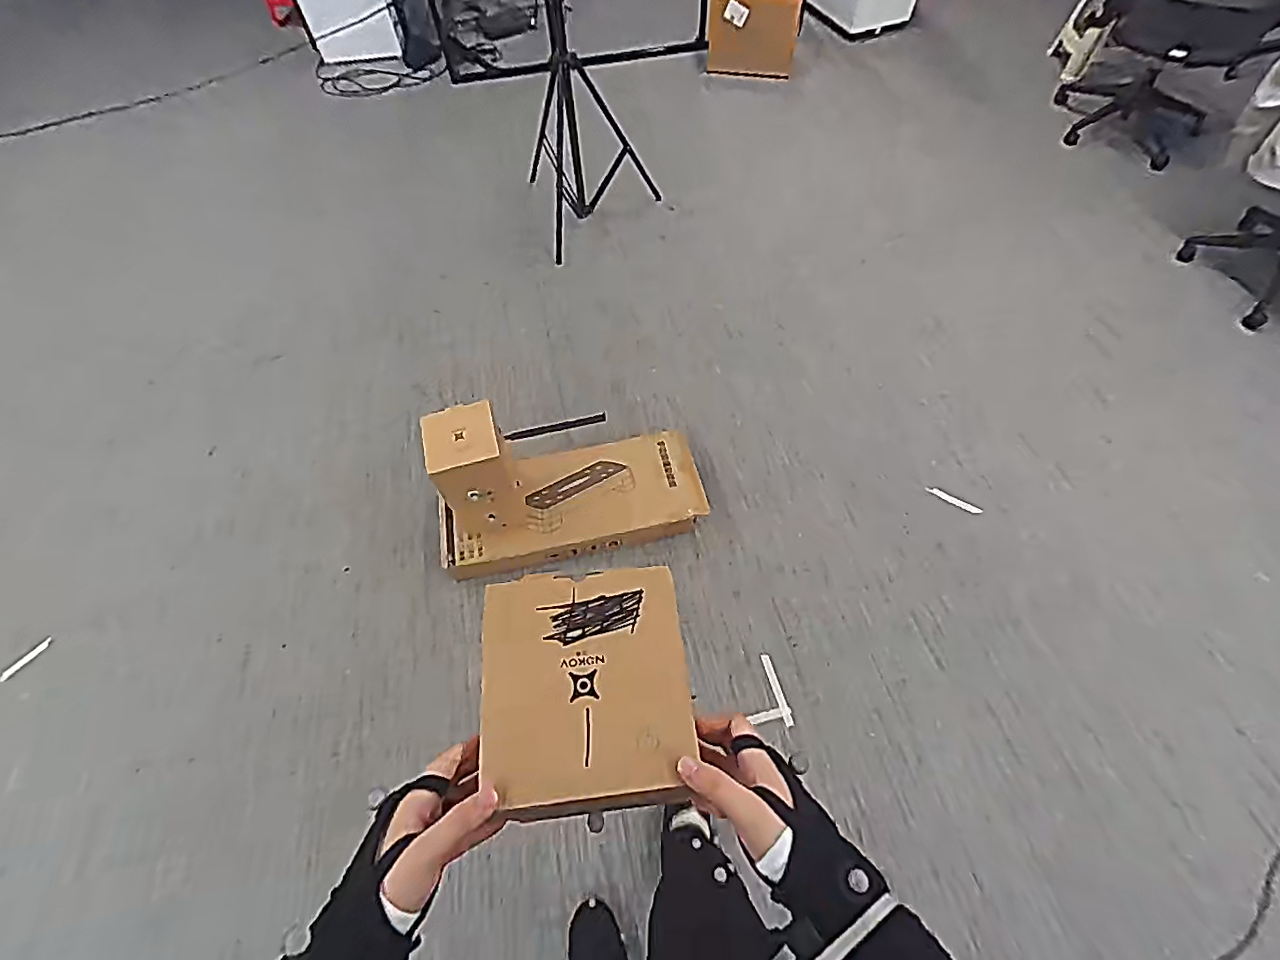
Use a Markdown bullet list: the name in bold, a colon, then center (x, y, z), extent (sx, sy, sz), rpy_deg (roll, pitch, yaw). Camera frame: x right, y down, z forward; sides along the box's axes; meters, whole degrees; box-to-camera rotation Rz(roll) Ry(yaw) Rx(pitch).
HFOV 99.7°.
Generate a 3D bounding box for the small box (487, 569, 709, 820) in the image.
- **small box**: center (-0.040, 0.204, 0.507), extent (0.168, 0.176, 0.179), rpy_deg (-5, 56, -4)

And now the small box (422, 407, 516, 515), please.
- **small box**: center (-0.410, -0.043, 1.309), extent (0.168, 0.176, 0.179), rpy_deg (-16, 60, -8)

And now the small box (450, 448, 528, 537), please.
- **small box**: center (-0.403, 0.041, 1.450), extent (0.168, 0.176, 0.179), rpy_deg (-10, 60, -5)
